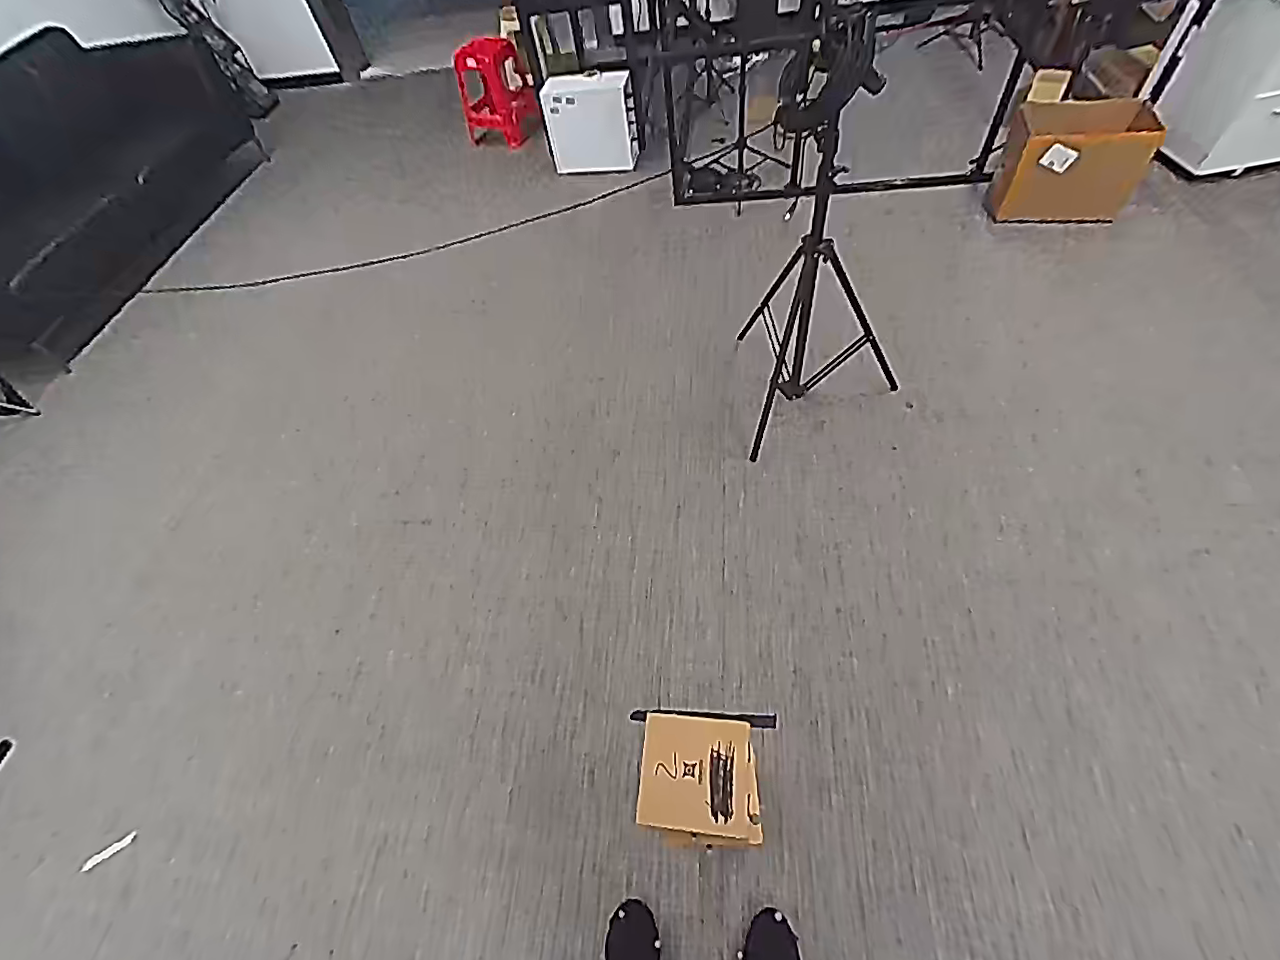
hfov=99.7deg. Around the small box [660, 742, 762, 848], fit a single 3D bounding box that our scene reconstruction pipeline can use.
[{"bbox_3d":[0.135,0.613,1.052,0.179,0.176,0.168,-5,54,6],"label":"small box"}]
